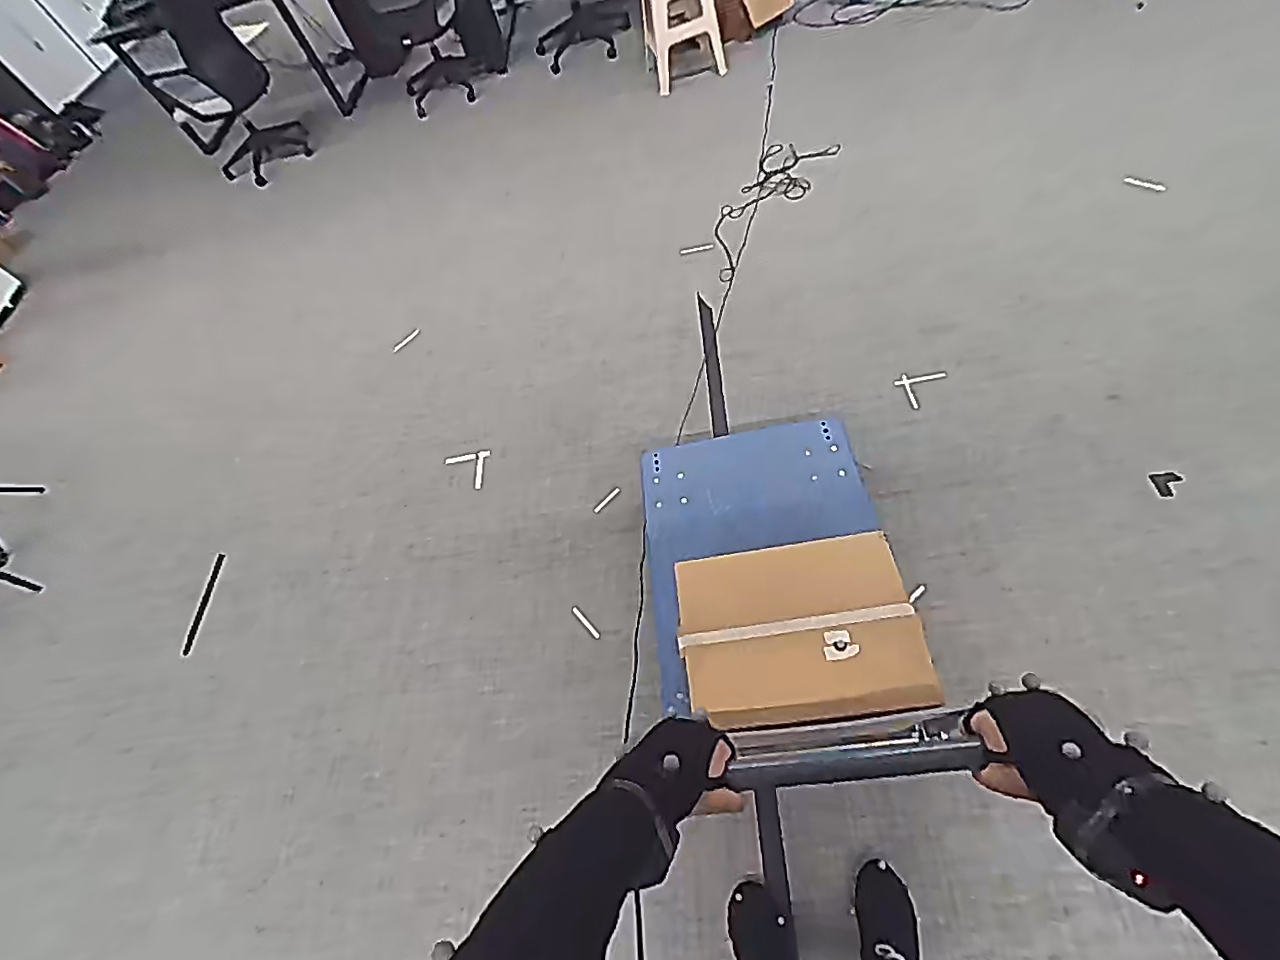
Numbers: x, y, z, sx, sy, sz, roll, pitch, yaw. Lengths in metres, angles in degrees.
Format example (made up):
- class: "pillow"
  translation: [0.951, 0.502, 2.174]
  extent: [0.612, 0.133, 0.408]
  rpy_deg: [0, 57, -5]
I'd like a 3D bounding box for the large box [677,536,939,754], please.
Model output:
- class: "large box"
  translation: [0.308, 0.349, 1.100]
  extent: [0.408, 0.320, 0.320]
  rpy_deg: [-10, 57, 7]
